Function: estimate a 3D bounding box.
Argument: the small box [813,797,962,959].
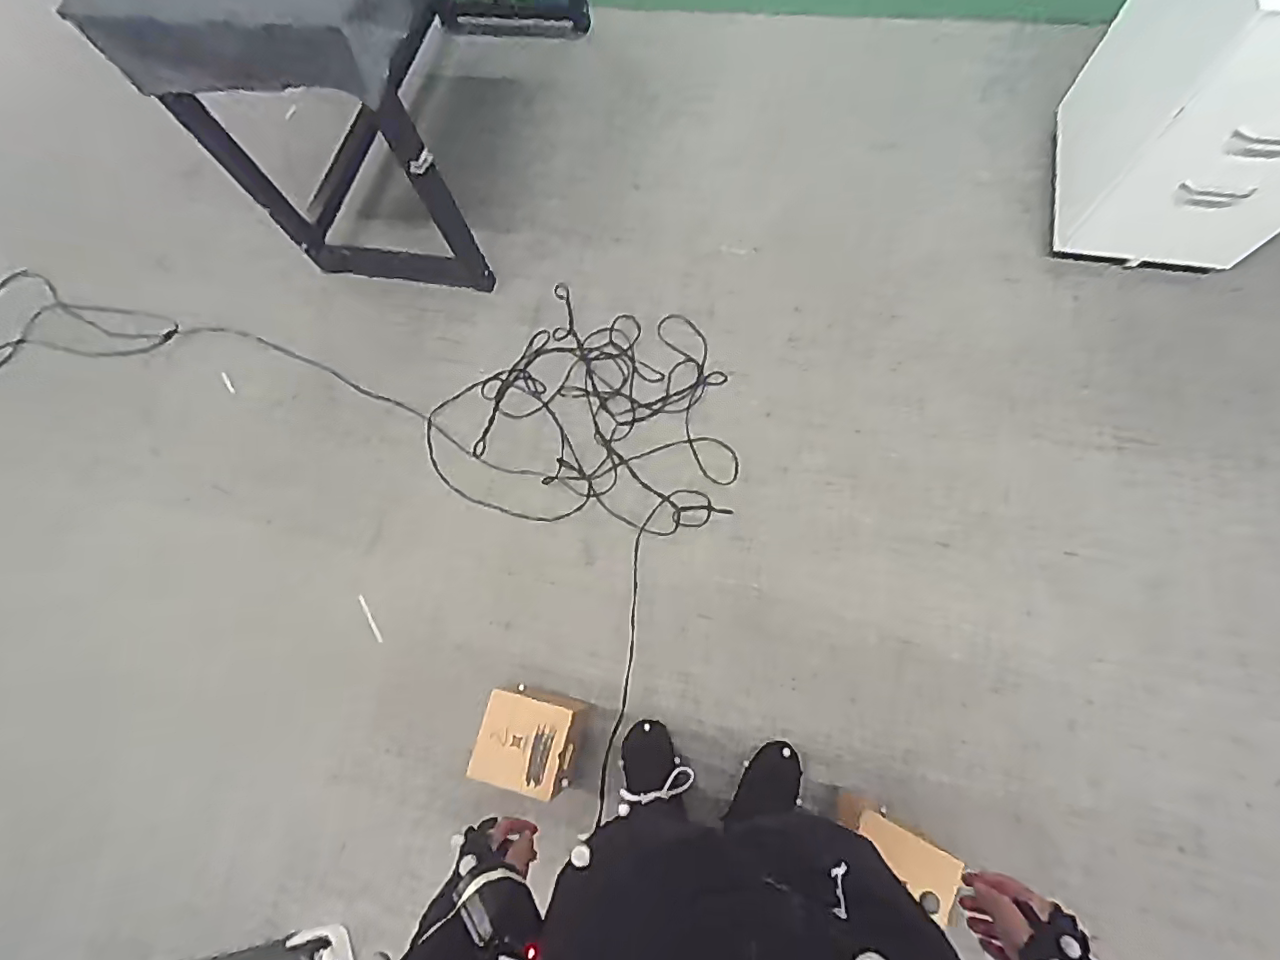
[{"bbox_3d":[0.442,0.716,0.990,0.179,0.176,0.168,24,76,14],"label":"small box"}]
